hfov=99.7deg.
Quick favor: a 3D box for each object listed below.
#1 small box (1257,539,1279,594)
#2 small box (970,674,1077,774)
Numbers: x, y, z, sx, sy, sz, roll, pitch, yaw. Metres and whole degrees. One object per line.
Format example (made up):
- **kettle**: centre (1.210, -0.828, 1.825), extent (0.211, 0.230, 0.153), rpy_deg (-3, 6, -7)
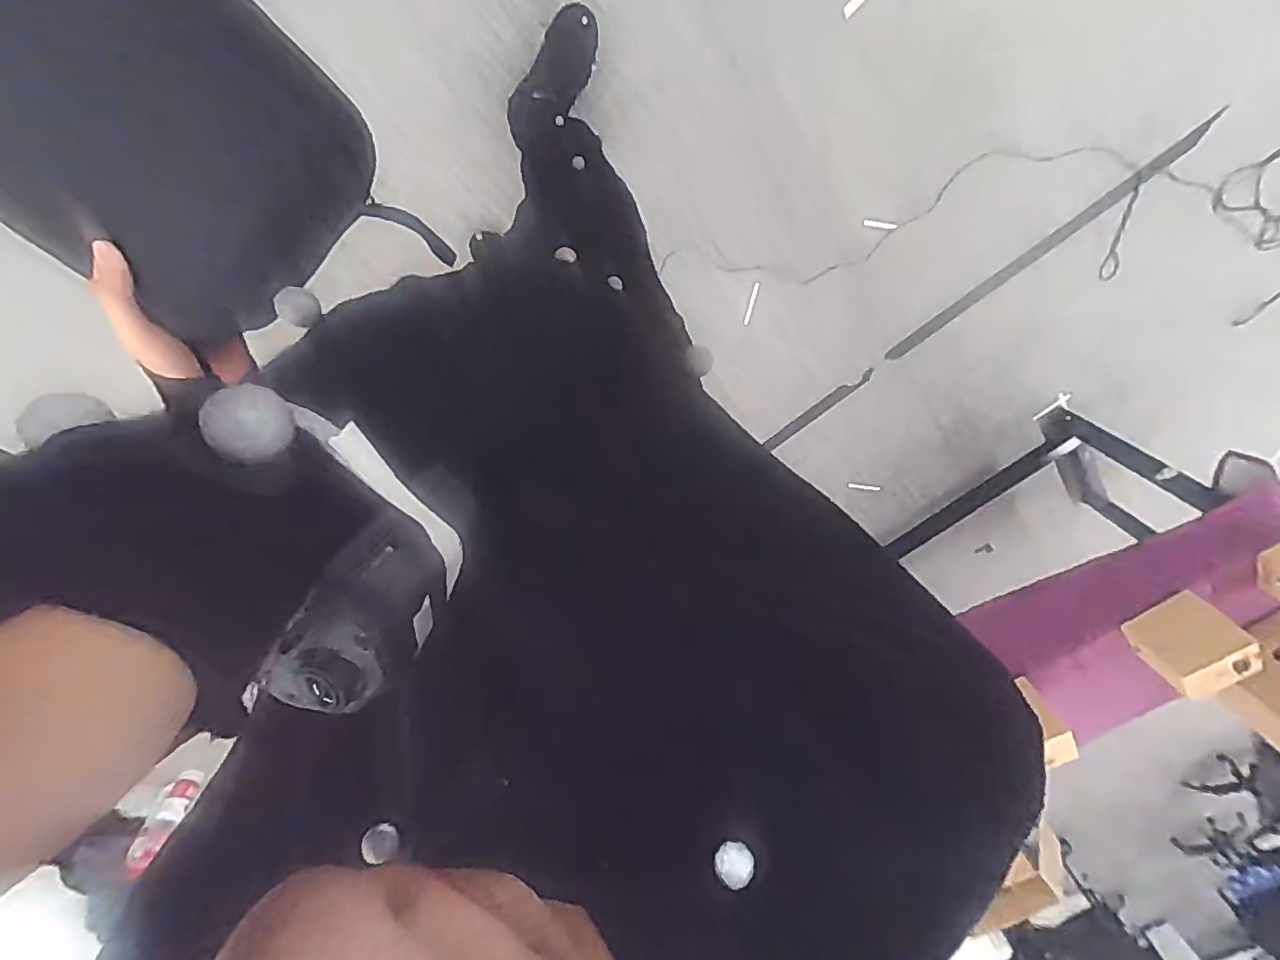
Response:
- **small box**: centre (1.660, 0.214, 1.292), extent (0.179, 0.176, 0.168), rpy_deg (-36, 124, 15)
- **small box**: centre (1.048, 0.667, 1.485), extent (0.168, 0.176, 0.179), rpy_deg (-33, 123, 11)
